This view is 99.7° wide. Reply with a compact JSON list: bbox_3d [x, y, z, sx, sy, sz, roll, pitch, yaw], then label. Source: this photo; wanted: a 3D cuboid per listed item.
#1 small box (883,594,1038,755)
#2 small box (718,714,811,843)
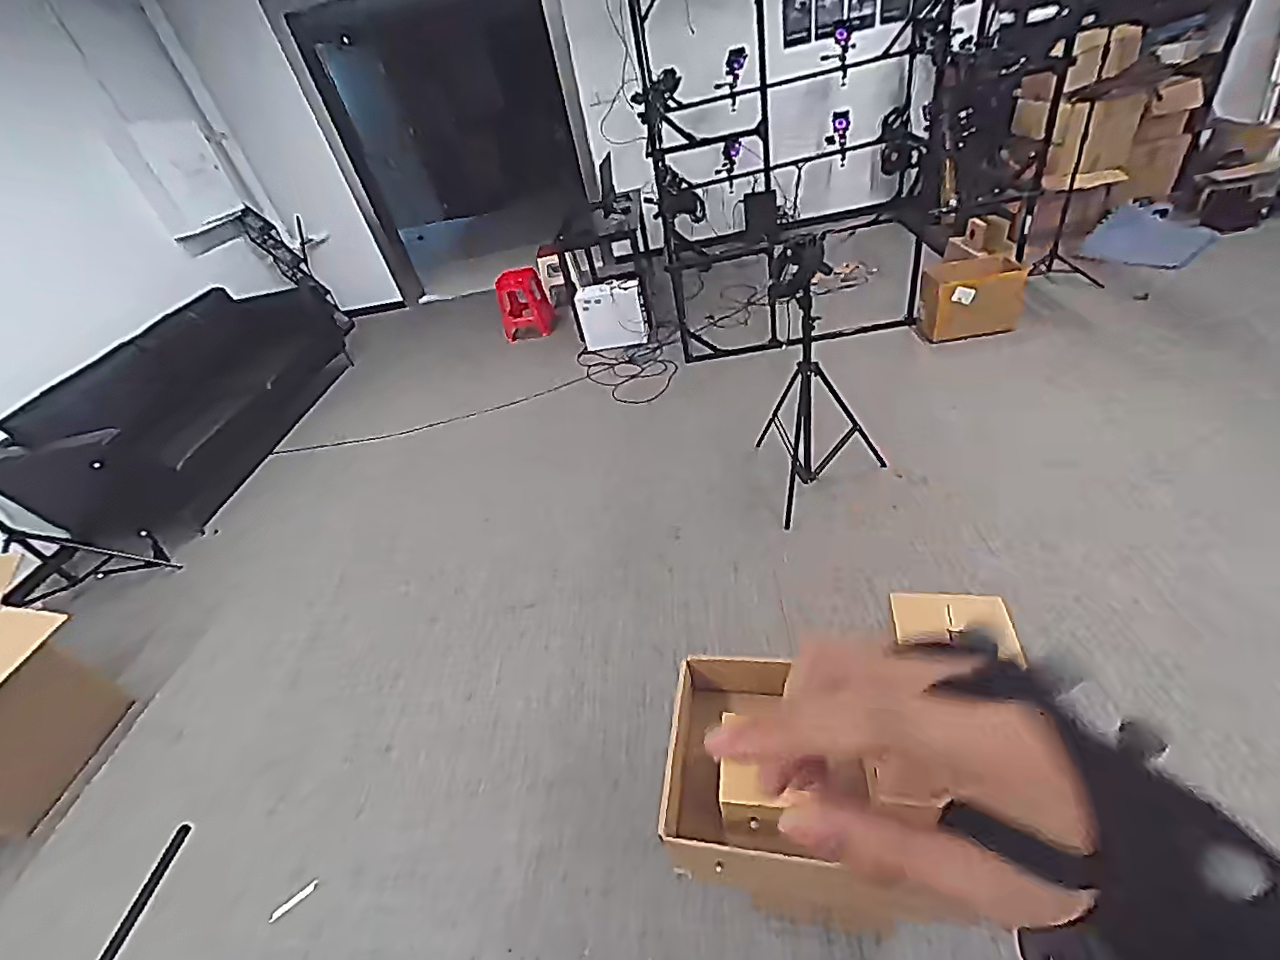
[{"bbox_3d":[0.483,0.303,0.845,0.168,0.176,0.179,-1,39,16],"label":"small box"},{"bbox_3d":[0.252,0.599,1.086,0.168,0.176,0.179,-3,38,13],"label":"small box"}]
